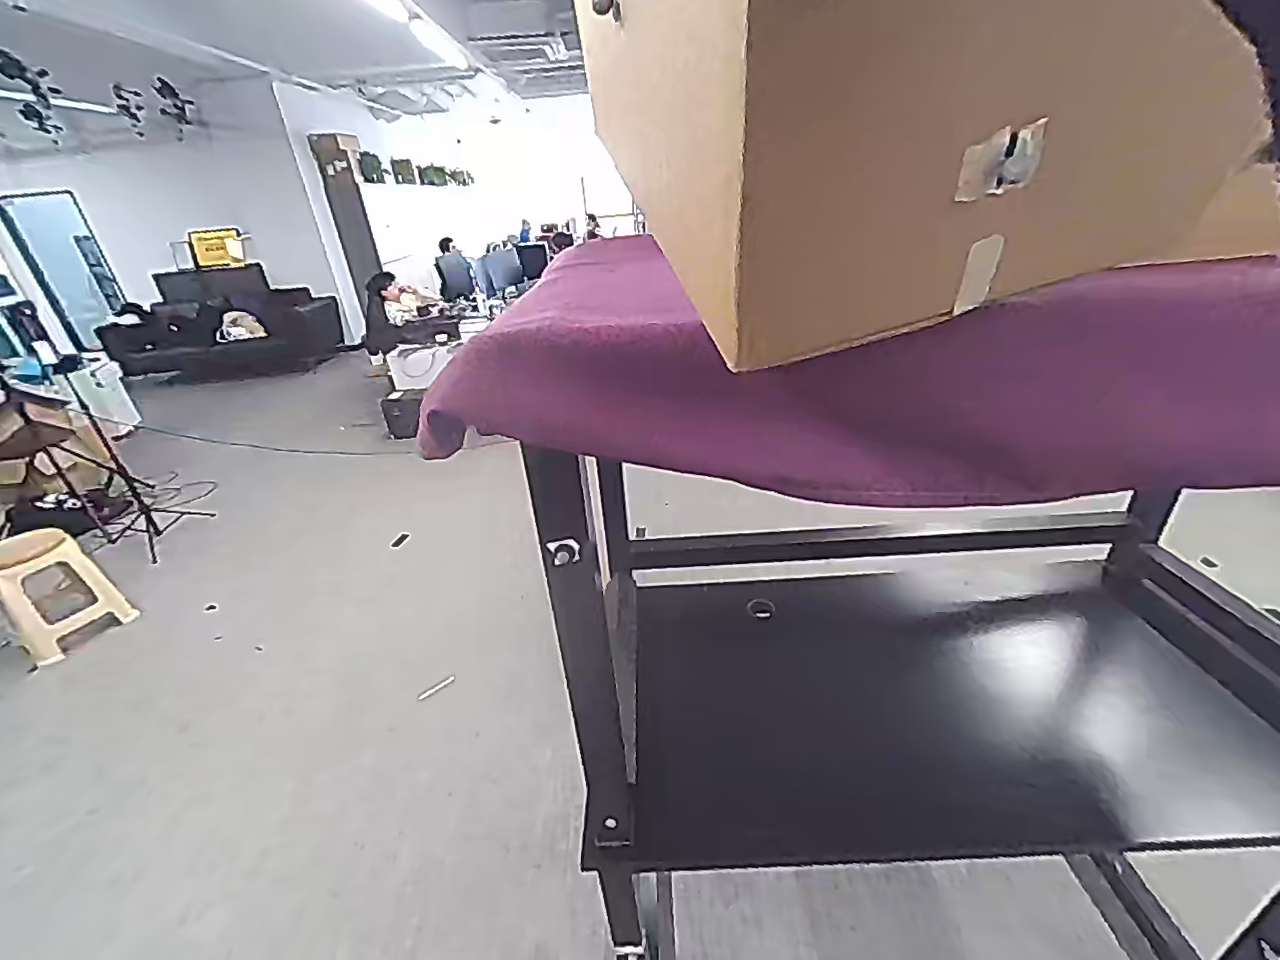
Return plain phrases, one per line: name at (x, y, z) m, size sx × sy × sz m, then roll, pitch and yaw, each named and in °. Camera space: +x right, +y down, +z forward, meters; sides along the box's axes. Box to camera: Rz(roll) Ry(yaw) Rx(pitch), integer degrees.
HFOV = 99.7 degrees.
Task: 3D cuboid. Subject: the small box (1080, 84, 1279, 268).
small box at (0.492, -0.312, 0.531) m, size 0.179 × 0.176 × 0.168 m, roll -4°, pitch 27°, yaw 2°
